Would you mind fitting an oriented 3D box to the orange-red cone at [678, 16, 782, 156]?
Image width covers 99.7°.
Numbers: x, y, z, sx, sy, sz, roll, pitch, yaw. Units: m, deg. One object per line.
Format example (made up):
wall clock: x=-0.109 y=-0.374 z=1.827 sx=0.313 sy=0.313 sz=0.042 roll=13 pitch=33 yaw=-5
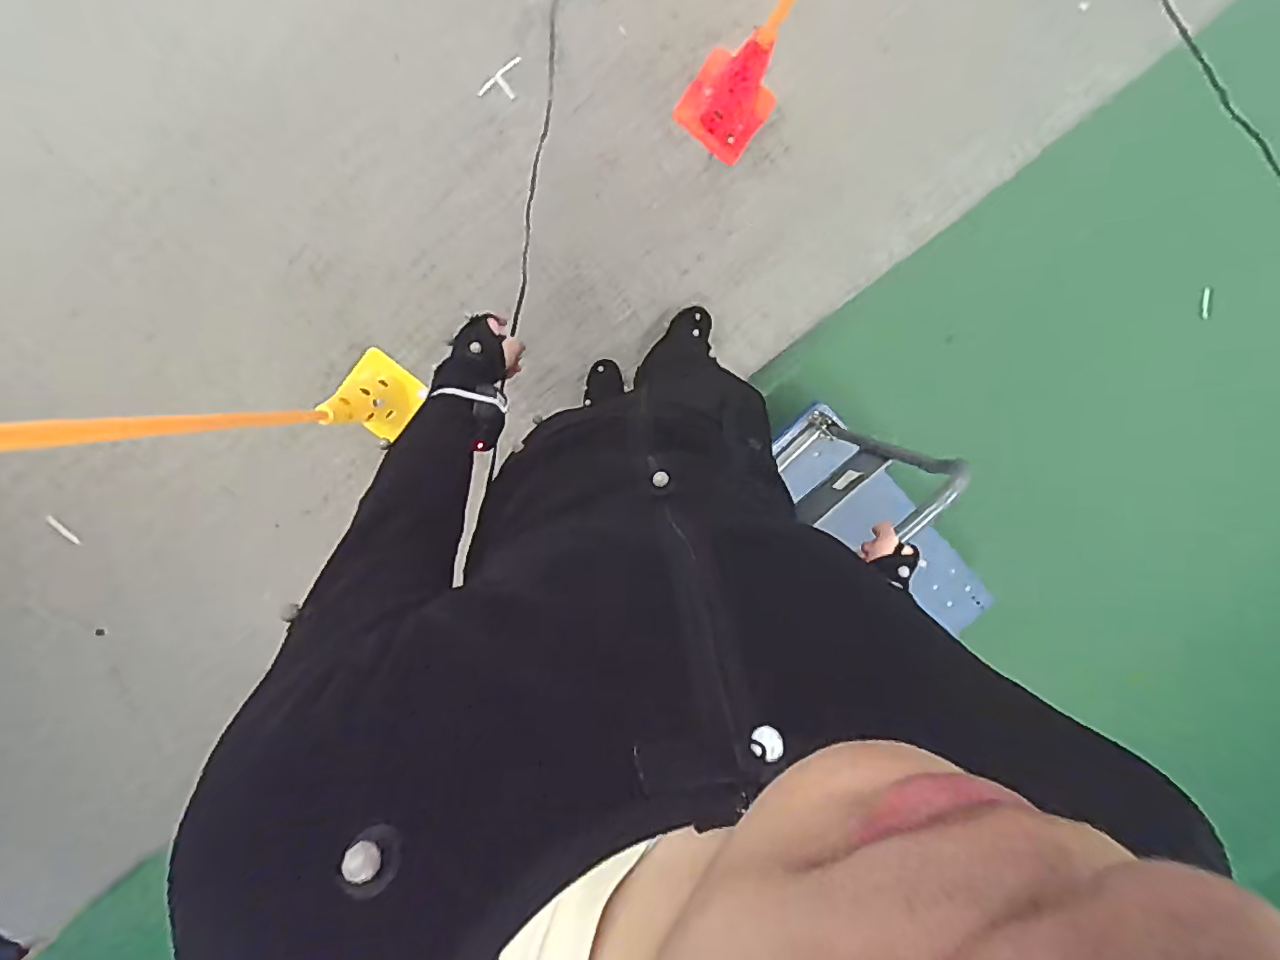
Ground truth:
orange-red cone: x=0.236 y=-0.914 z=1.199 sx=0.198 sy=0.360 sz=0.199 roll=36 pitch=99 yaw=-14
